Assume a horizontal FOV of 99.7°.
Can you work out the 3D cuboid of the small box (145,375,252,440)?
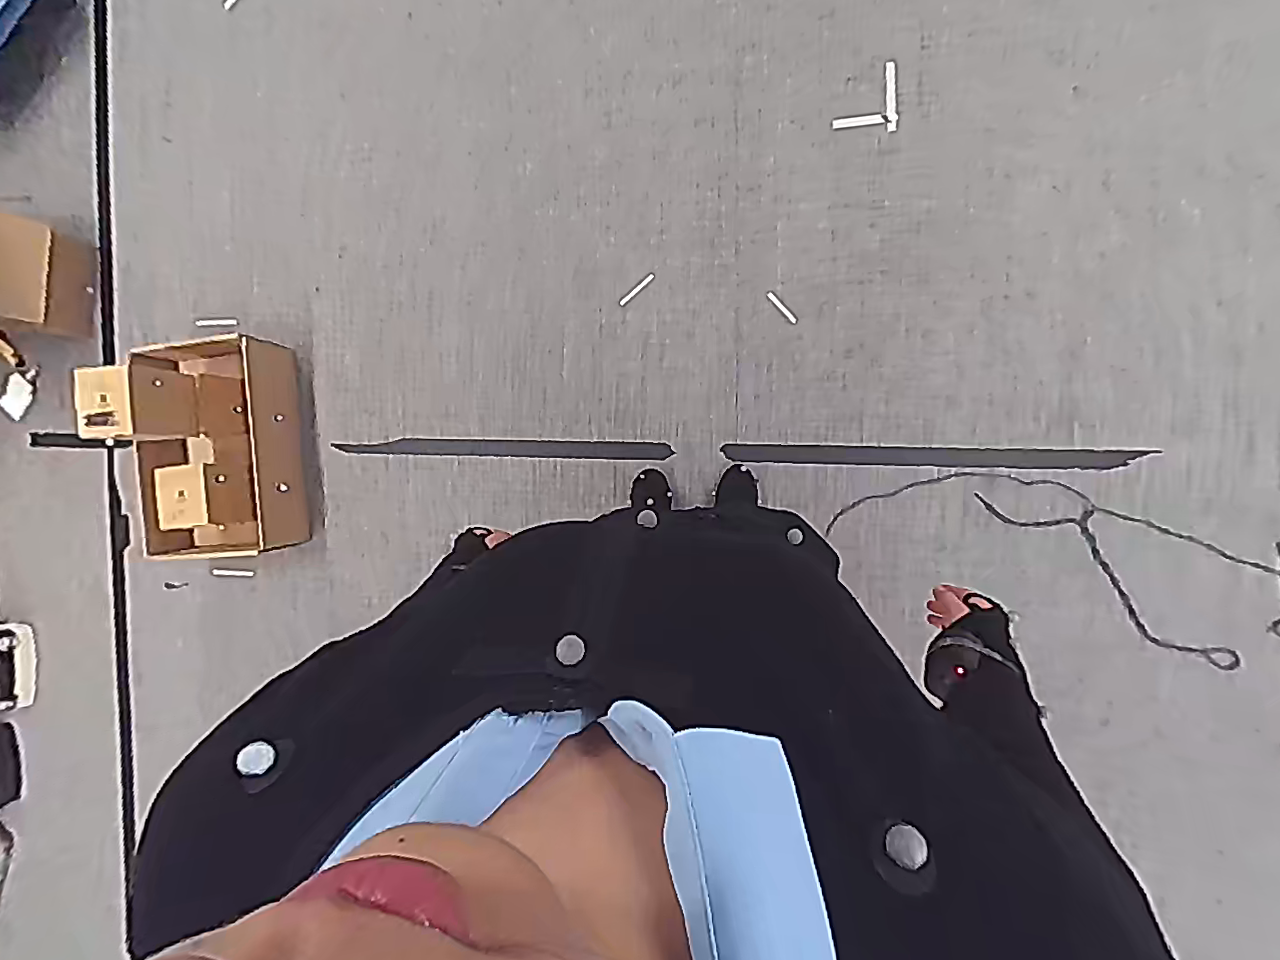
[{"bbox_3d":[-1.283,-0.207,1.581,0.179,0.176,0.168,-4,92,9],"label":"small box"}]

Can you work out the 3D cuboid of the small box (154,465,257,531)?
[{"bbox_3d":[-1.264,0.052,1.582,0.168,0.176,0.179,-6,89,10],"label":"small box"}]
